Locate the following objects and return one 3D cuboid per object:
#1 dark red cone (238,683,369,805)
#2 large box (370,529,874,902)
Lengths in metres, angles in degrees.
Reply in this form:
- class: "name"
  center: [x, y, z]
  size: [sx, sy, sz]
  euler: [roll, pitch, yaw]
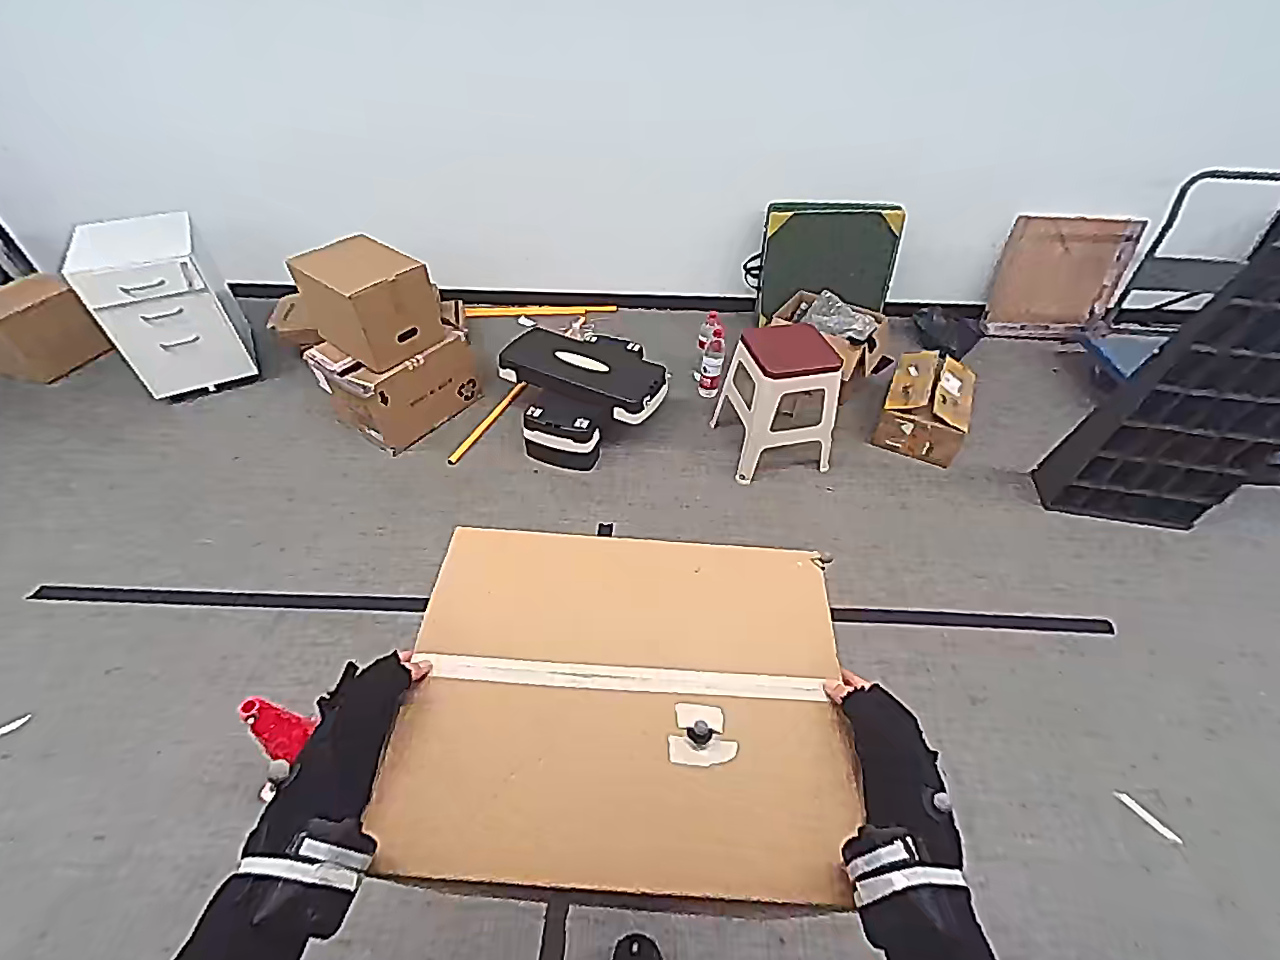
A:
- class: "dark red cone"
  center: [-0.794, 0.564, 1.217]
  size: [0.201, 0.394, 0.202]
  euler: [7, 46, 4]
- class: "large box"
  center: [-0.016, 0.279, 0.626]
  size: [0.408, 0.320, 0.320]
  euler: [4, 50, 0]
